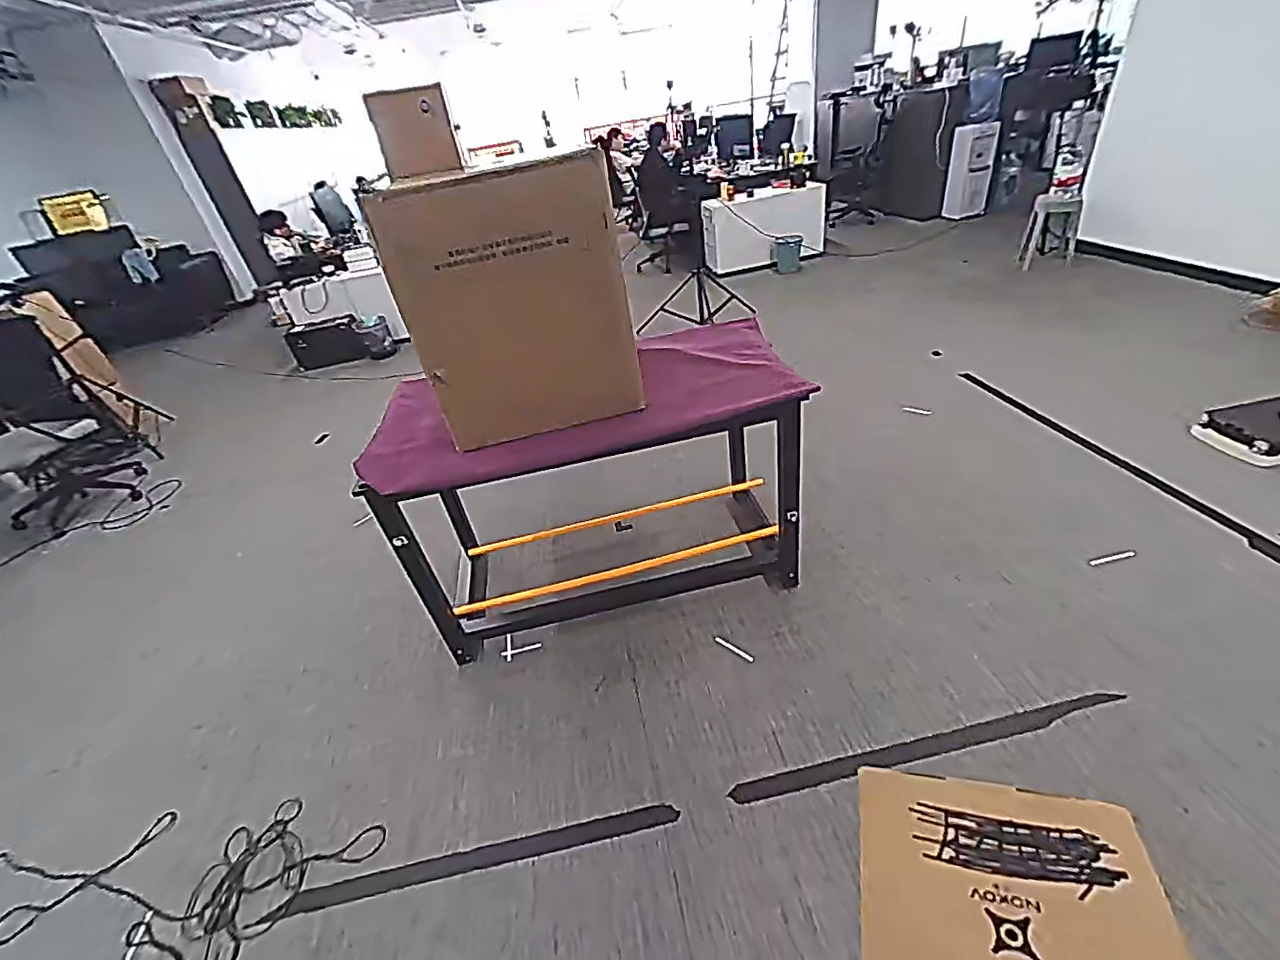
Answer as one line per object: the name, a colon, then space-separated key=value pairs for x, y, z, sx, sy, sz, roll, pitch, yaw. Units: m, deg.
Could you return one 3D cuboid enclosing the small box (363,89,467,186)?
small box: x=-0.524 y=-0.815 z=1.288 sx=0.179 sy=0.176 sz=0.168 roll=-14 pitch=34 yaw=-6
